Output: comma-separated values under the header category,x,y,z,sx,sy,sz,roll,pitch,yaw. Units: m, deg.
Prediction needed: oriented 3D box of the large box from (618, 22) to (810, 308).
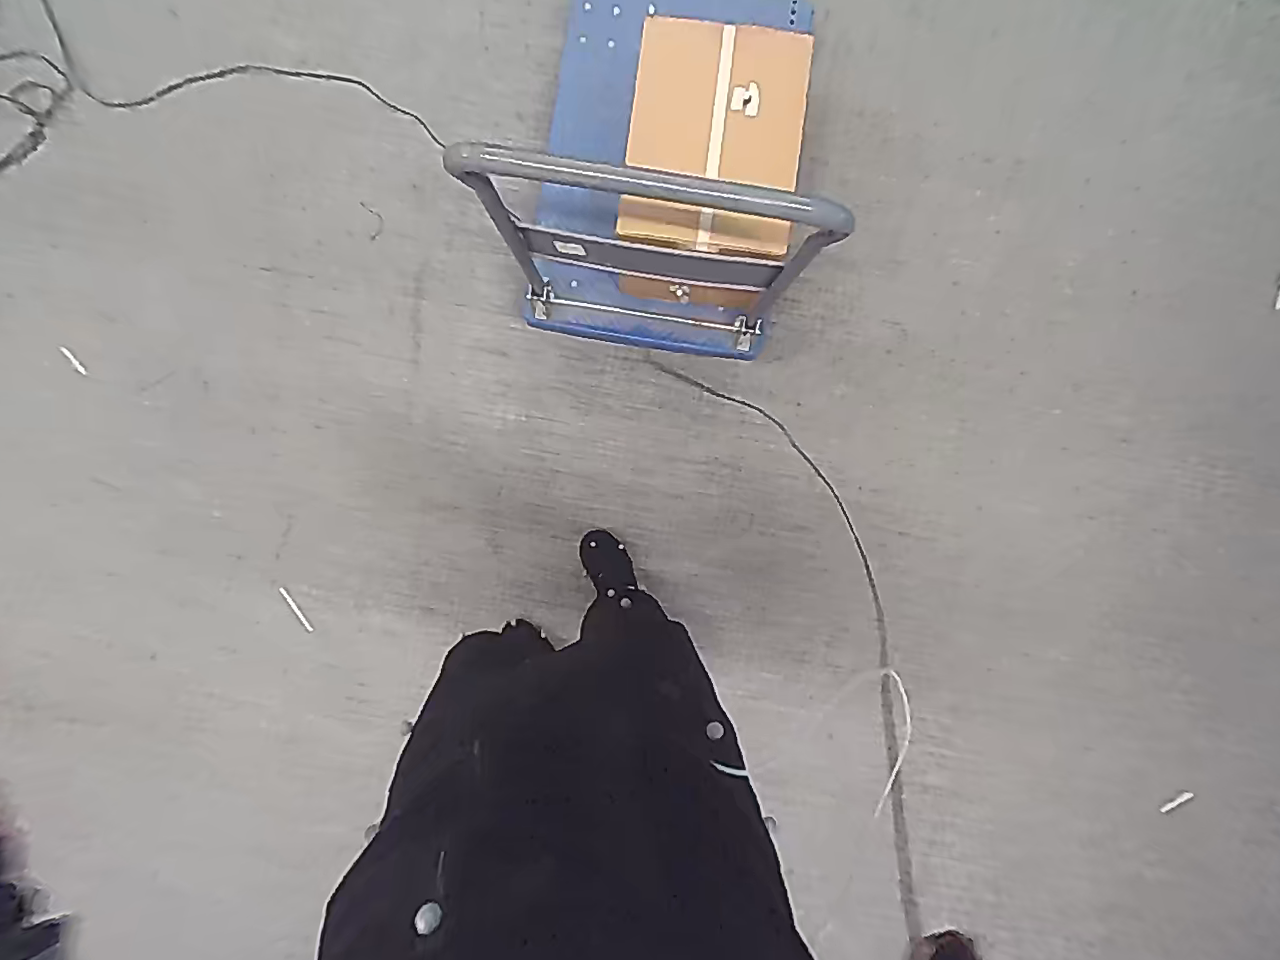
category,x,y,z,sx,sy,sz,roll,pitch,yaw
large box,0.135,-0.613,1.124,0.320,0.320,0.408,8,89,-1
